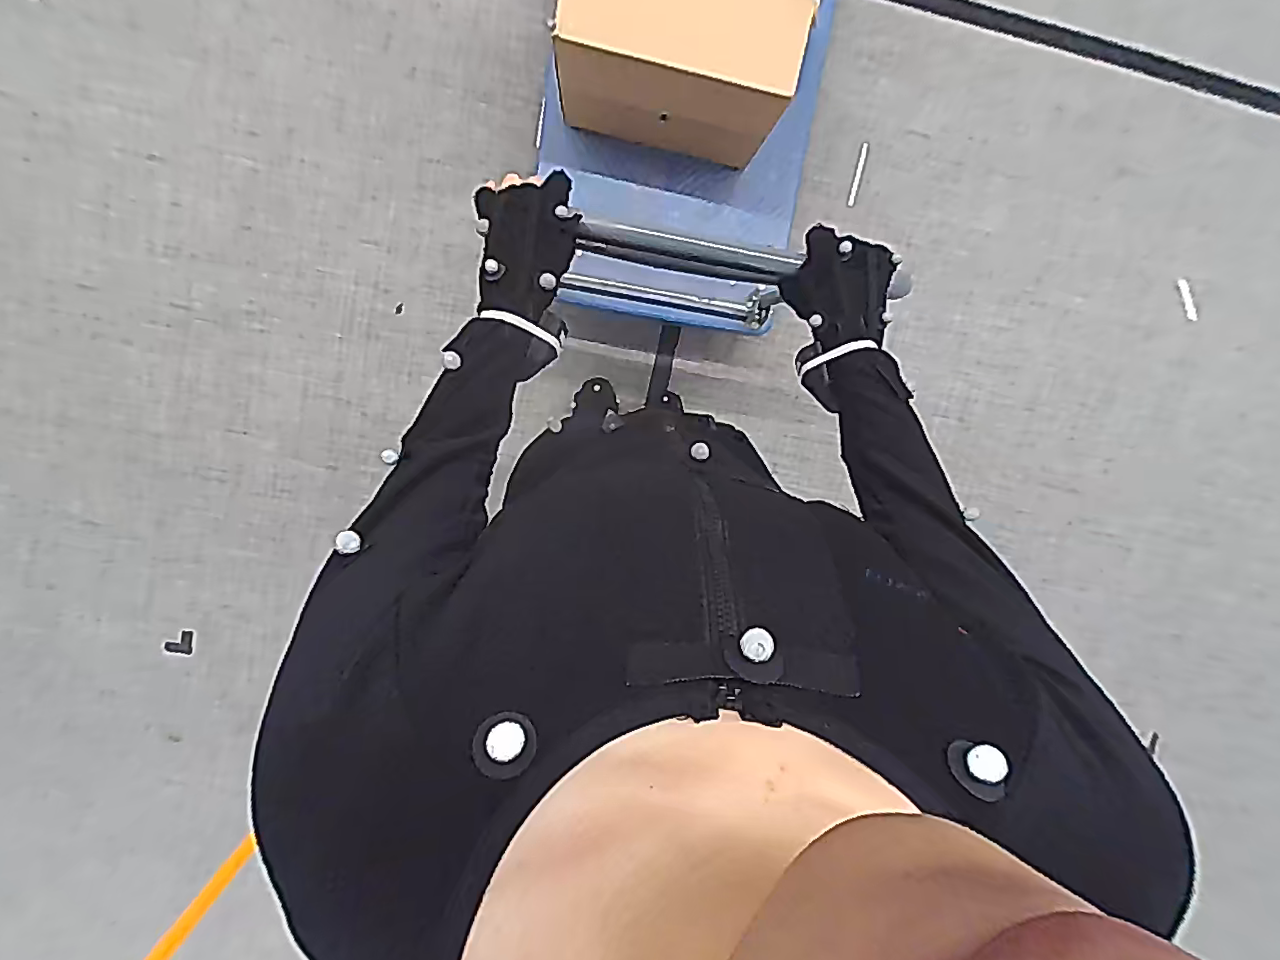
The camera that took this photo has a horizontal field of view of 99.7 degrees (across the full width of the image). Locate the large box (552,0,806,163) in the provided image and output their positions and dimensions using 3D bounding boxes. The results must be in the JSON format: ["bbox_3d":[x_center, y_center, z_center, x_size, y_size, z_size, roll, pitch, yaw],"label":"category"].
[{"bbox_3d":[0.072,-0.847,1.010,0.408,0.320,0.320,10,100,-5],"label":"large box"}]
